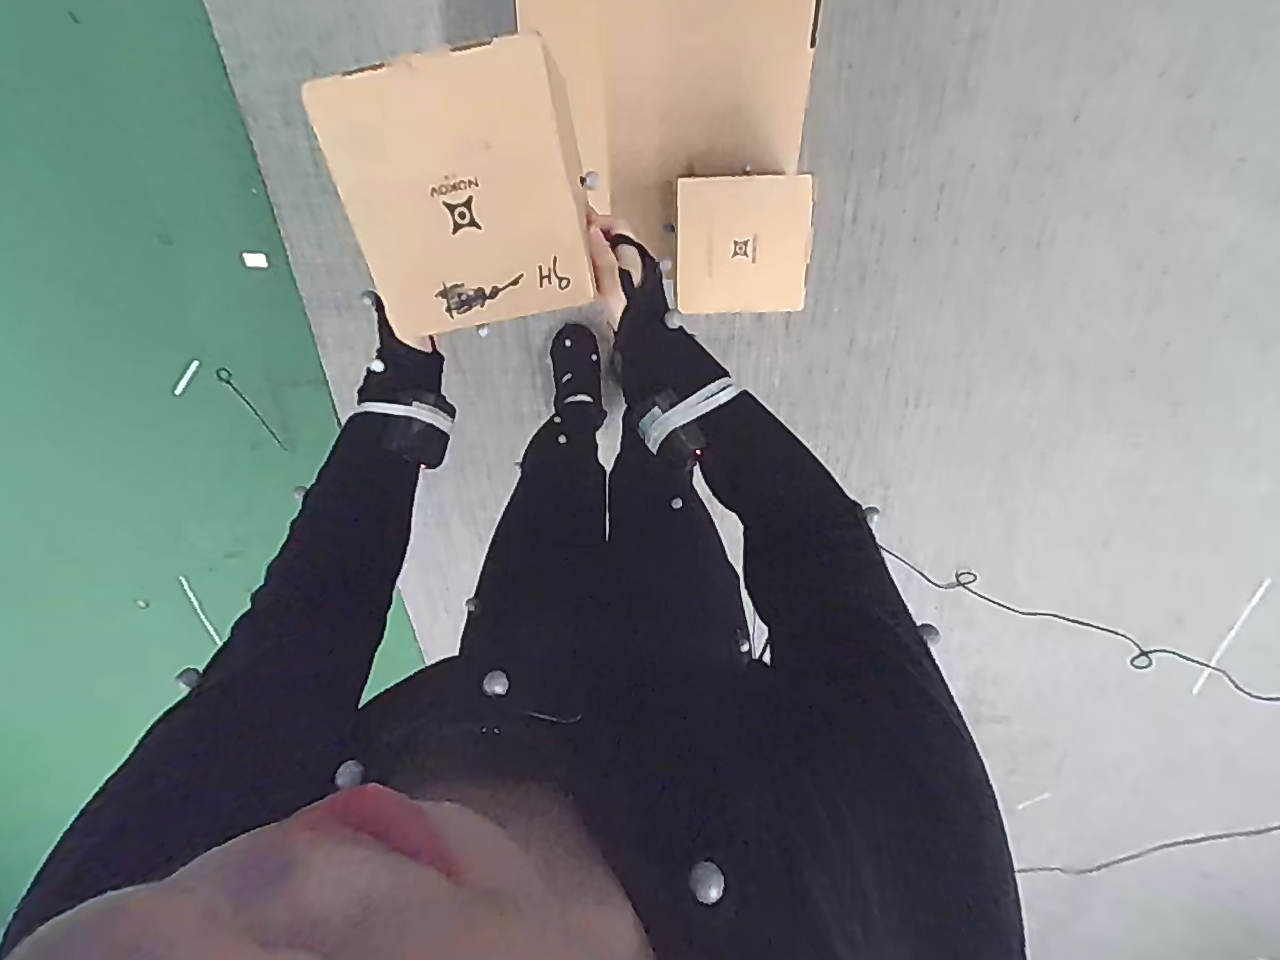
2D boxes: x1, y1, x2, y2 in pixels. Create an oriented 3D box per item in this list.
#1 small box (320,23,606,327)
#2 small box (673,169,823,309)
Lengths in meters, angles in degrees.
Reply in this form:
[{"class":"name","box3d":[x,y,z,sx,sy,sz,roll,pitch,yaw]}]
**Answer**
[{"class":"small box","box3d":[-0.125,-0.247,0.466,0.168,0.176,0.179,-10,117,3]},{"class":"small box","box3d":[0.139,-0.344,0.766,0.179,0.176,0.168,-1,119,2]}]
